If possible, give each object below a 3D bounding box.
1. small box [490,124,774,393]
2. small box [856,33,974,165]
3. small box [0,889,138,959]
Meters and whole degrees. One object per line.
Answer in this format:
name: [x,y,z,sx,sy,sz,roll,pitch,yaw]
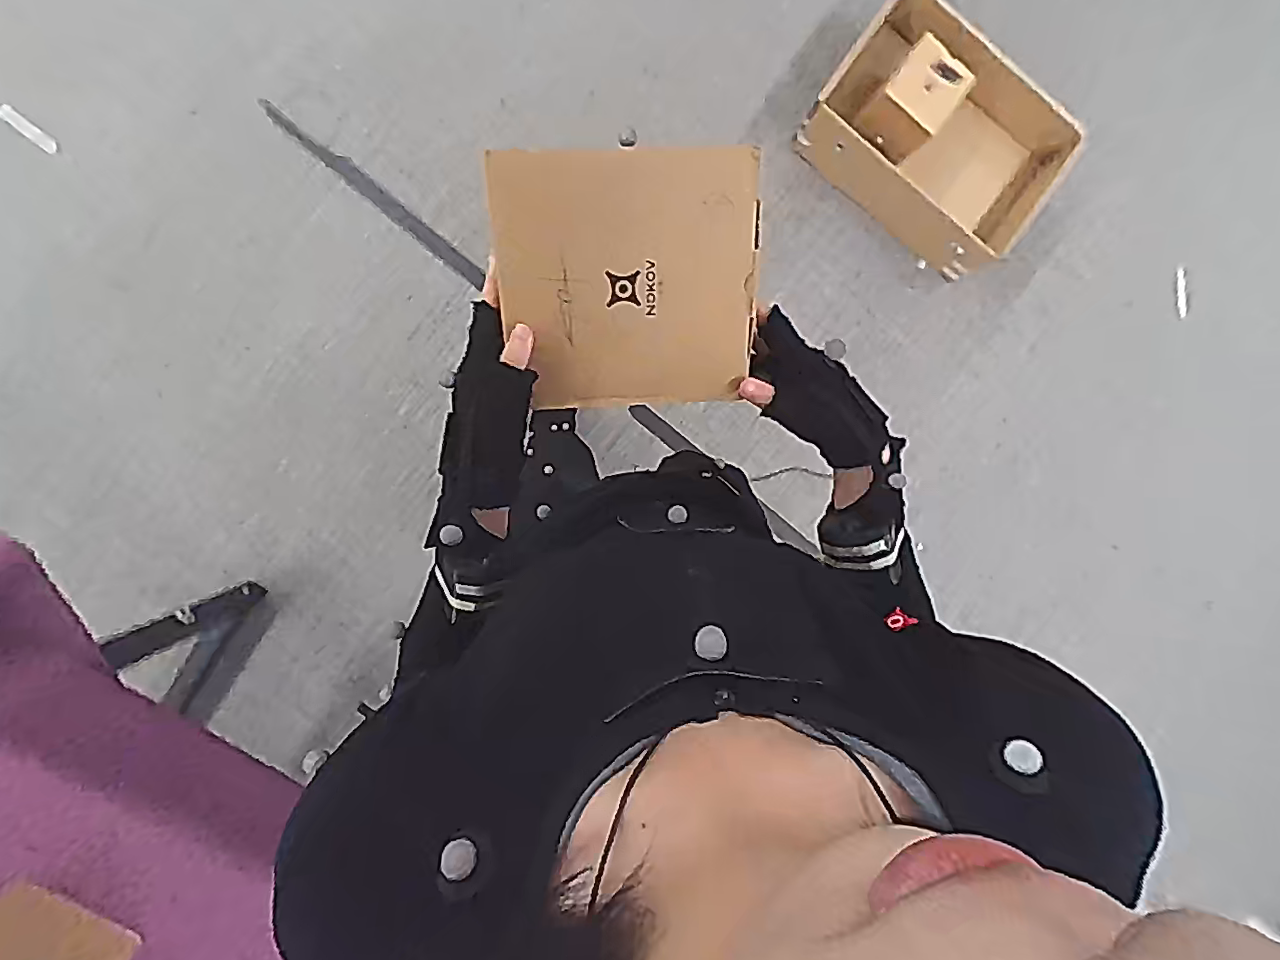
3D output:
small box: [-0.009,-0.174,0.430,0.179,0.176,0.168,-3,114,-3]
small box: [0.691,-0.962,1.383,0.168,0.176,0.179,36,91,-7]
small box: [-0.787,0.655,0.655,0.179,0.176,0.168,33,90,-7]
